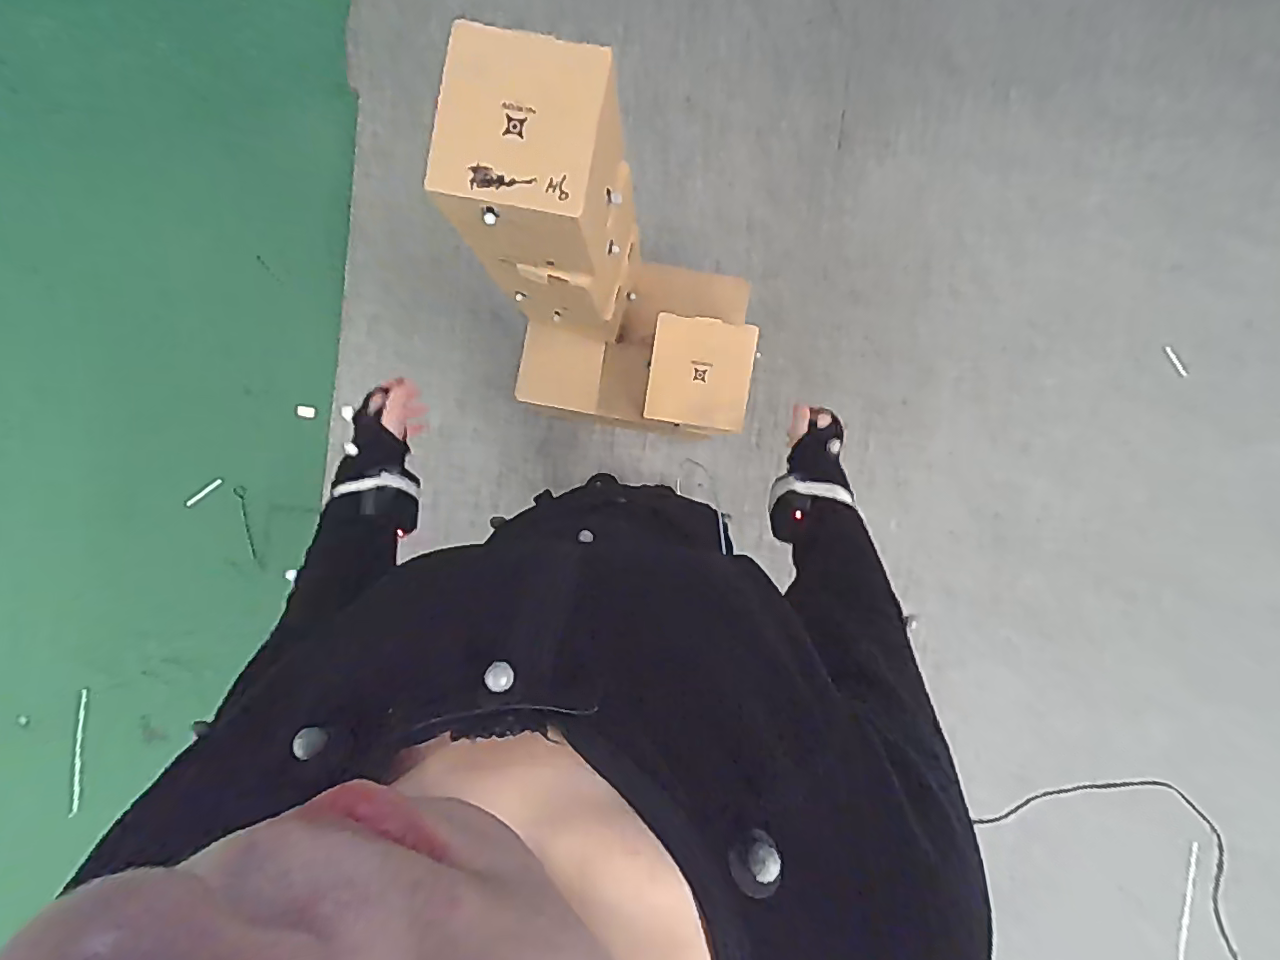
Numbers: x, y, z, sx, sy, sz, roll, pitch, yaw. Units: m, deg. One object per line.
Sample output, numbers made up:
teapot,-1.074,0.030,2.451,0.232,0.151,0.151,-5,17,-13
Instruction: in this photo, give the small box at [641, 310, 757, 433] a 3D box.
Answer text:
small box,0.098,-0.180,0.956,0.168,0.176,0.179,9,92,1

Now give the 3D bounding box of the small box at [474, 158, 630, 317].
small box,-0.115,-0.362,0.792,0.168,0.176,0.179,18,90,1

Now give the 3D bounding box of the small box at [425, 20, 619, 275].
small box,-0.121,-0.366,0.627,0.168,0.176,0.179,12,91,1

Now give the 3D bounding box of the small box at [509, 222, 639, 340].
small box,-0.108,-0.362,0.957,0.179,0.176,0.168,17,92,0
